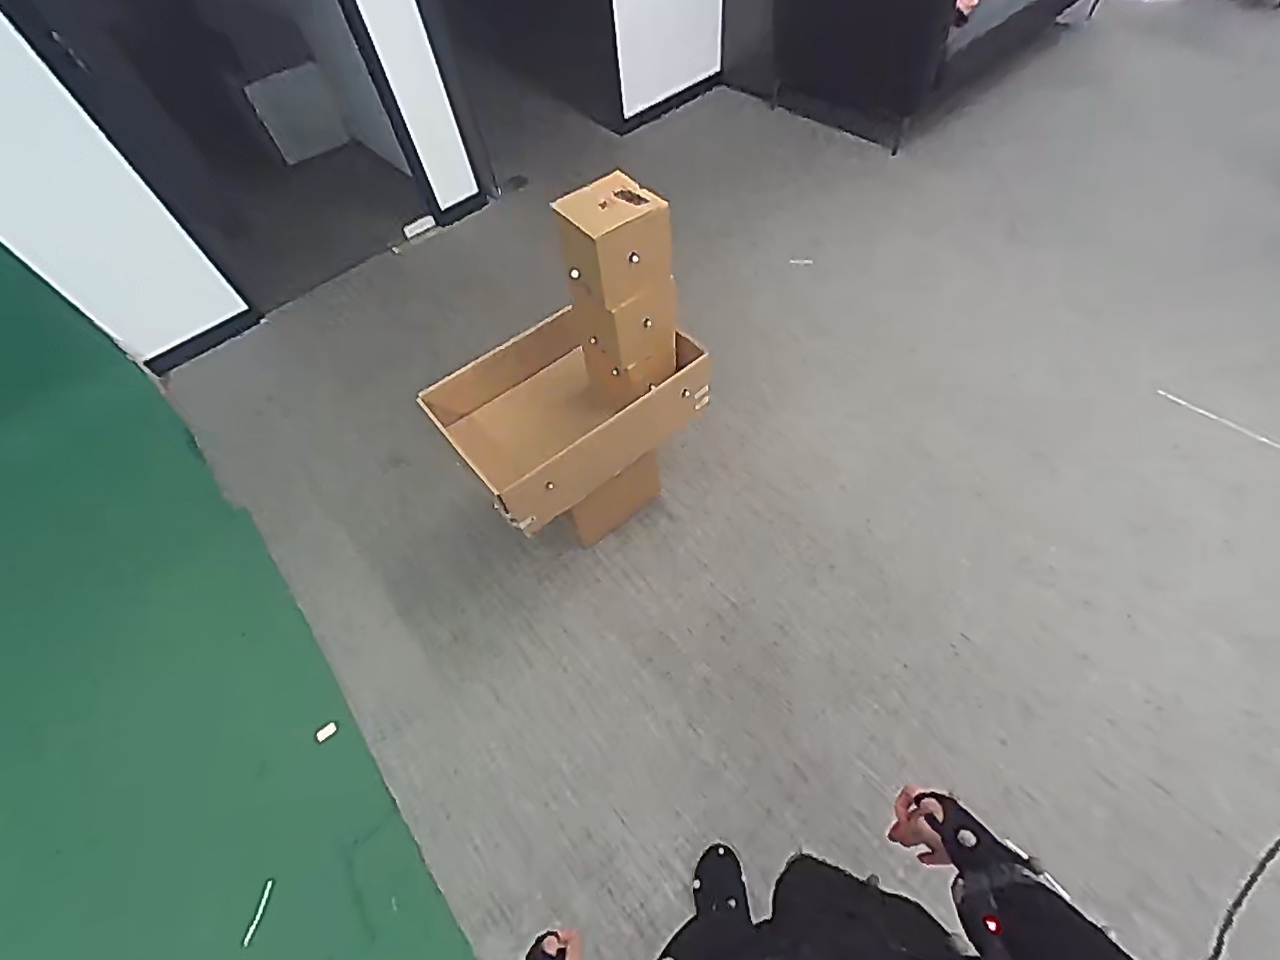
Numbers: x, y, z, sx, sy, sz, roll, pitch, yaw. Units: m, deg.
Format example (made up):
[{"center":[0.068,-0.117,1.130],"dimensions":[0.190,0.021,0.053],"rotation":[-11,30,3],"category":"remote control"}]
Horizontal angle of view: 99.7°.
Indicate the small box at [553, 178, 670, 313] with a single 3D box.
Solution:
[{"center":[-0.052,-0.482,1.119],"dimensions":[0.179,0.176,0.168],"rotation":[-34,59,-16],"category":"small box"}]
